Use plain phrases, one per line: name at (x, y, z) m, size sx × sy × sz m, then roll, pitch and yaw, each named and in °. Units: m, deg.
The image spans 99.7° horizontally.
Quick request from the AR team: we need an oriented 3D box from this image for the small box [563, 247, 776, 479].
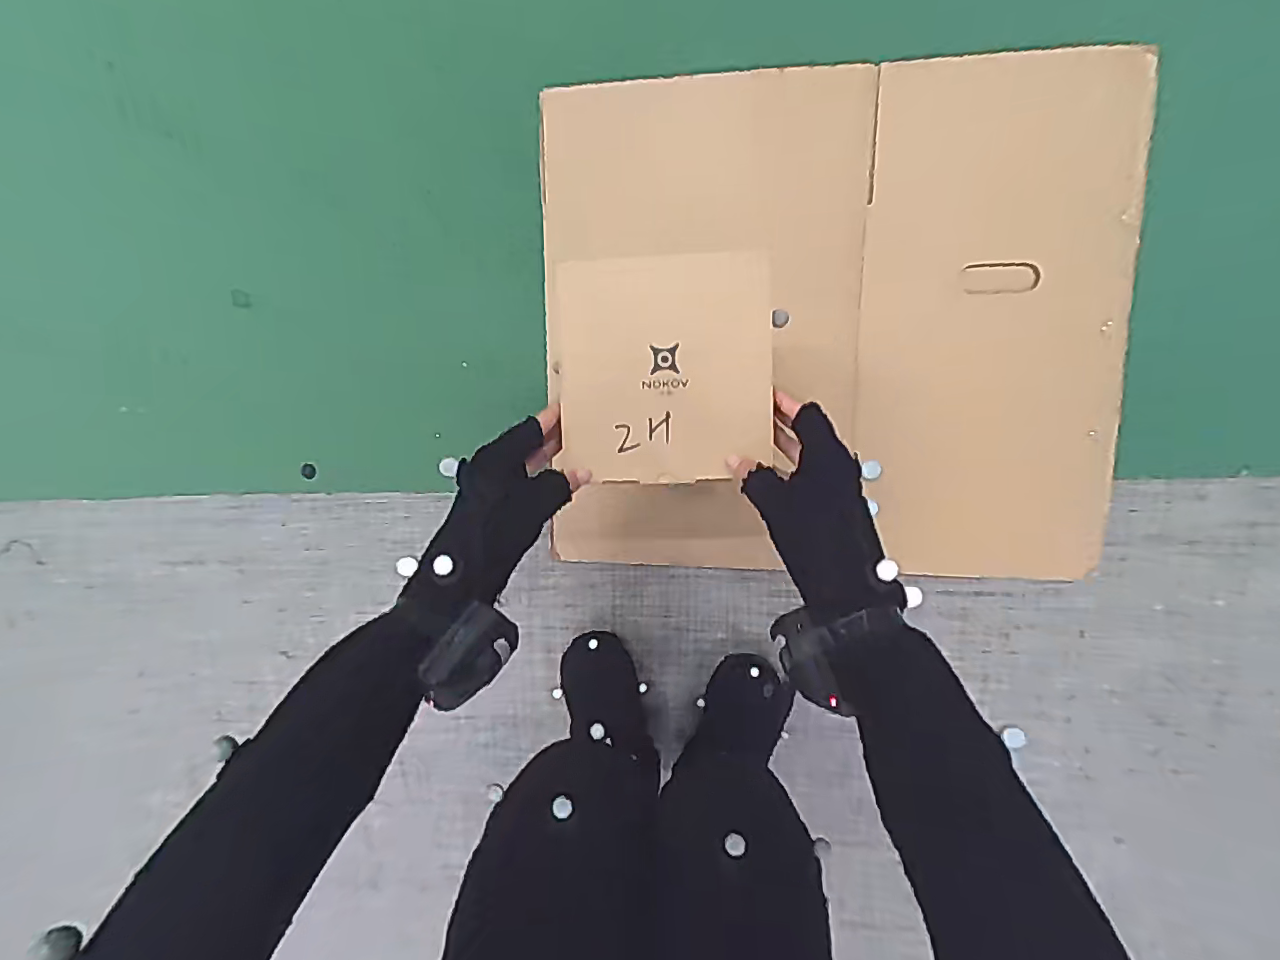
small box at (0.030, -0.095, 0.498) m, size 0.168 × 0.176 × 0.179 m, roll -1°, pitch 96°, yaw 7°
